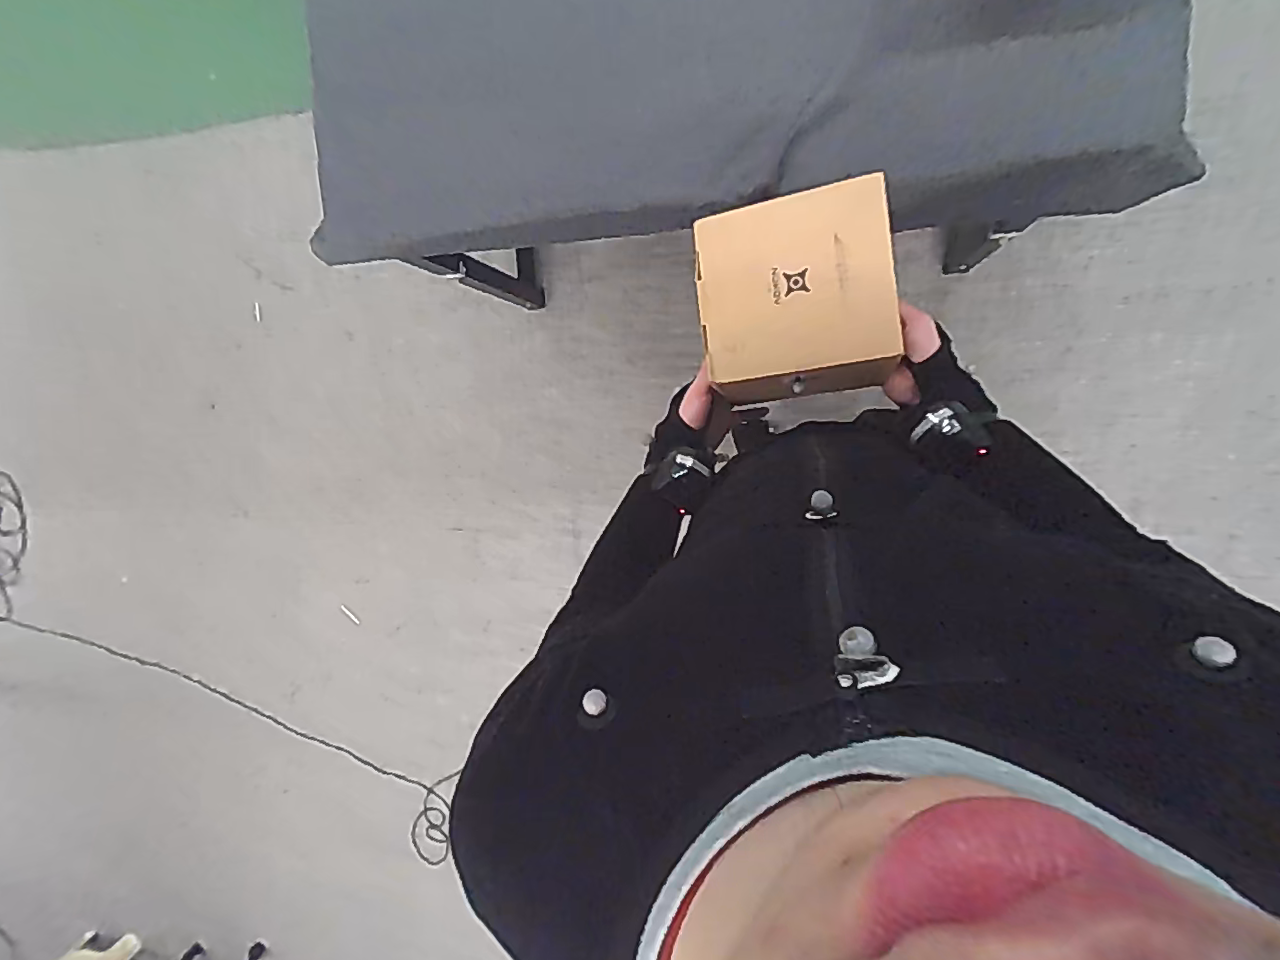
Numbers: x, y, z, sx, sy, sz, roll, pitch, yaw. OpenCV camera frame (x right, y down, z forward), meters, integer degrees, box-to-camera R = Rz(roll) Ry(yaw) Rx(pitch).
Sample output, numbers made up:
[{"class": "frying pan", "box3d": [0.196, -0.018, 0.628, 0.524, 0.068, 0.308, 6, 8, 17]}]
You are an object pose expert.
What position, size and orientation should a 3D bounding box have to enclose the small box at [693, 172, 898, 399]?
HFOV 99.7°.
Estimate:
[{"class": "small box", "box3d": [0.166, -0.186, 0.579, 0.179, 0.176, 0.168, -6, 89, 18]}]
